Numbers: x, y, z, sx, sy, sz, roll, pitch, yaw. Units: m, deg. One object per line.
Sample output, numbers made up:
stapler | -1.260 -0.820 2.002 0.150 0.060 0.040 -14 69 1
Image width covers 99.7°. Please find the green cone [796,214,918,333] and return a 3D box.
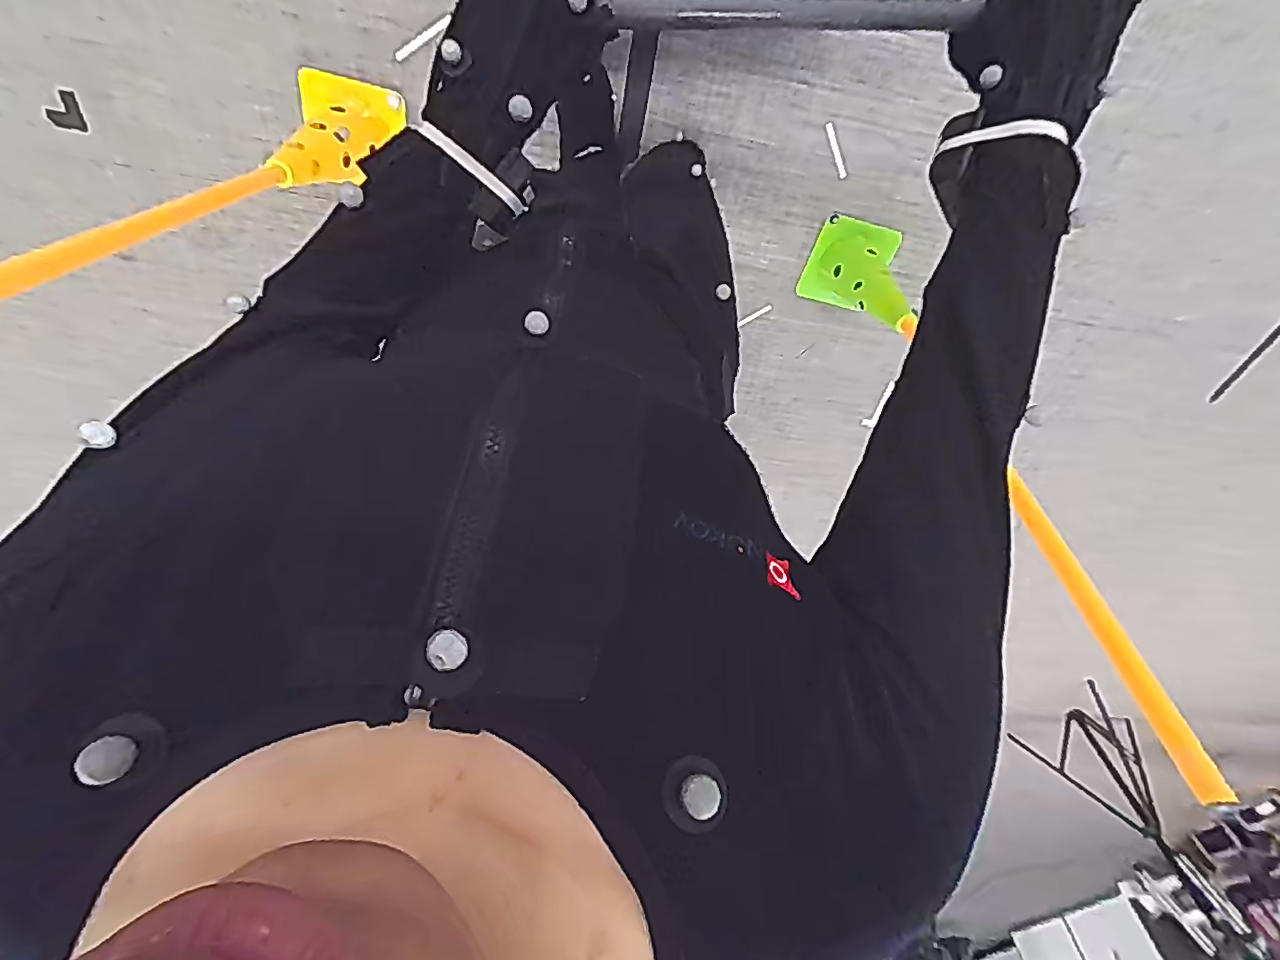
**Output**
green cone | 0.517 -0.423 1.204 0.202 0.368 0.200 9 129 -11
